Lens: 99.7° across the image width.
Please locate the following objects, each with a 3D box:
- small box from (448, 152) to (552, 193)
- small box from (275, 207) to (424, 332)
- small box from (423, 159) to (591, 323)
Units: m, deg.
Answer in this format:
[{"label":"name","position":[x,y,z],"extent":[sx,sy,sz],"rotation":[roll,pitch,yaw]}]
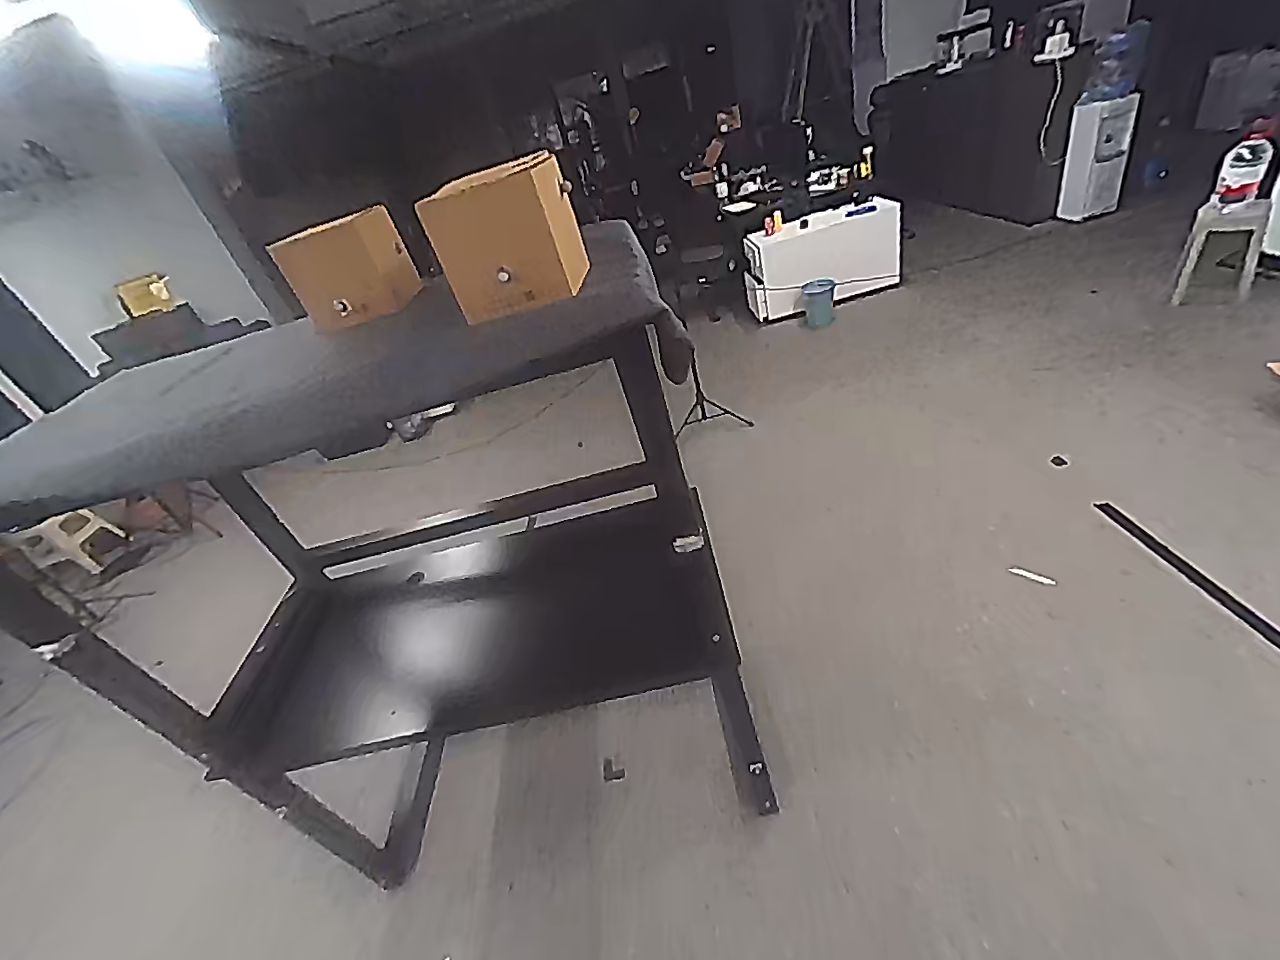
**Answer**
[{"label":"small box","position":[-0.220,-0.462,0.974],"extent":[0.168,0.176,0.179],"rotation":[-11,36,10]},{"label":"small box","position":[-0.545,-0.406,1.047],"extent":[0.168,0.176,0.179],"rotation":[-15,34,6]},{"label":"small box","position":[-0.180,-0.350,0.798],"extent":[0.168,0.176,0.179],"rotation":[-11,34,12]}]
